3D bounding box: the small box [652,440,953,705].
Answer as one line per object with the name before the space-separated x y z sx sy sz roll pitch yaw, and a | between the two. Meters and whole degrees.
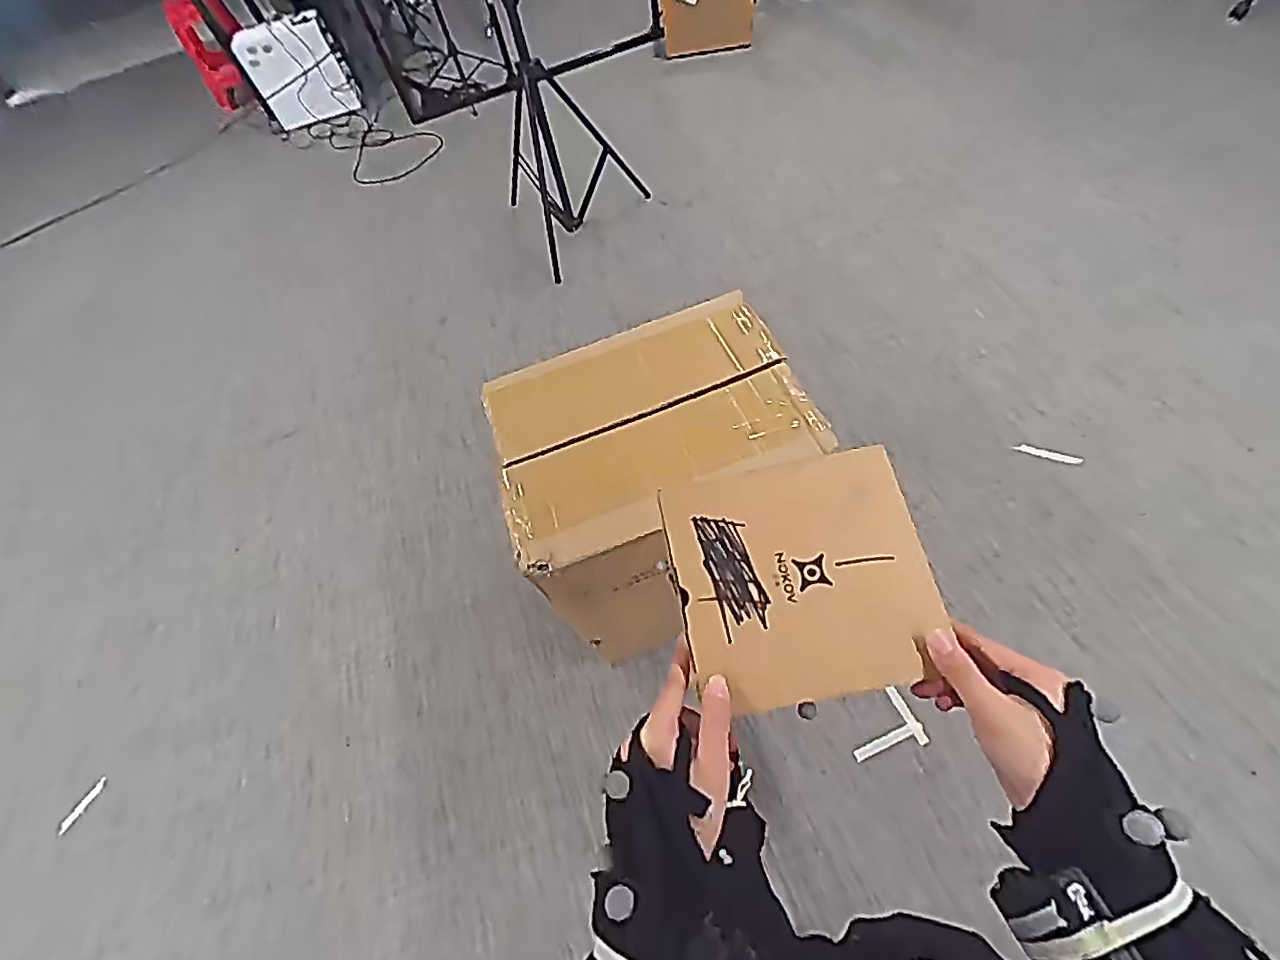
small box | 0.115 0.087 0.456 0.179 0.176 0.168 -11 70 1
